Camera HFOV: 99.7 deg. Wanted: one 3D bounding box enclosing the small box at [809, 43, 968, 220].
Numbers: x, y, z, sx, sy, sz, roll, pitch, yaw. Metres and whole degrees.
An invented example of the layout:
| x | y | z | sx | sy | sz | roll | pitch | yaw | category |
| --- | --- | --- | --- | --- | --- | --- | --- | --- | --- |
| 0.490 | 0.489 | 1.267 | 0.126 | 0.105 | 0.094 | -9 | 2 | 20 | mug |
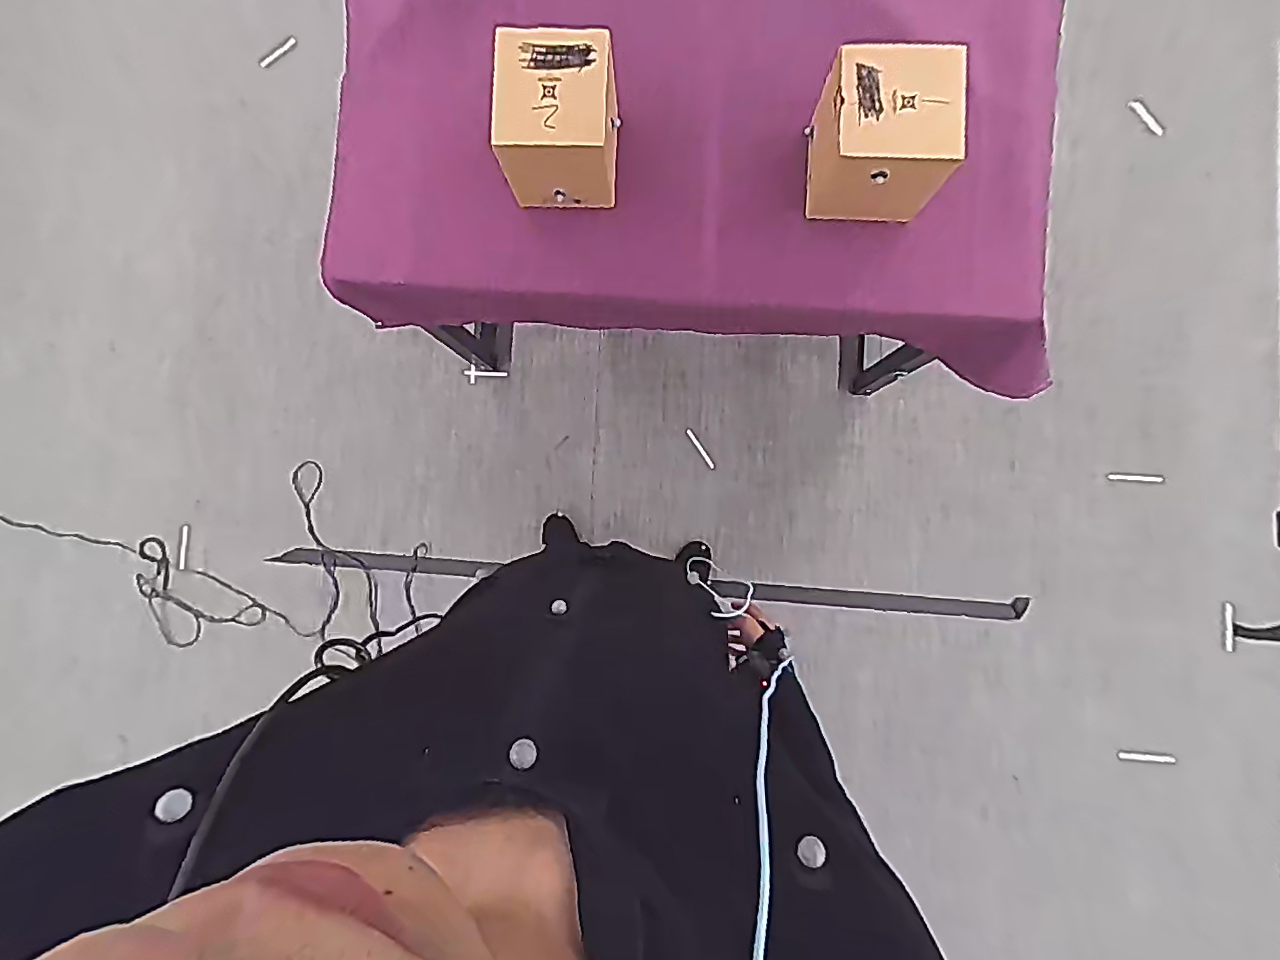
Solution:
| x | y | z | sx | sy | sz | roll | pitch | yaw | category |
| --- | --- | --- | --- | --- | --- | --- | --- | --- | --- |
| 0.368 | -0.522 | 0.831 | 0.179 | 0.176 | 0.168 | 3 | 88 | 2 | small box |
